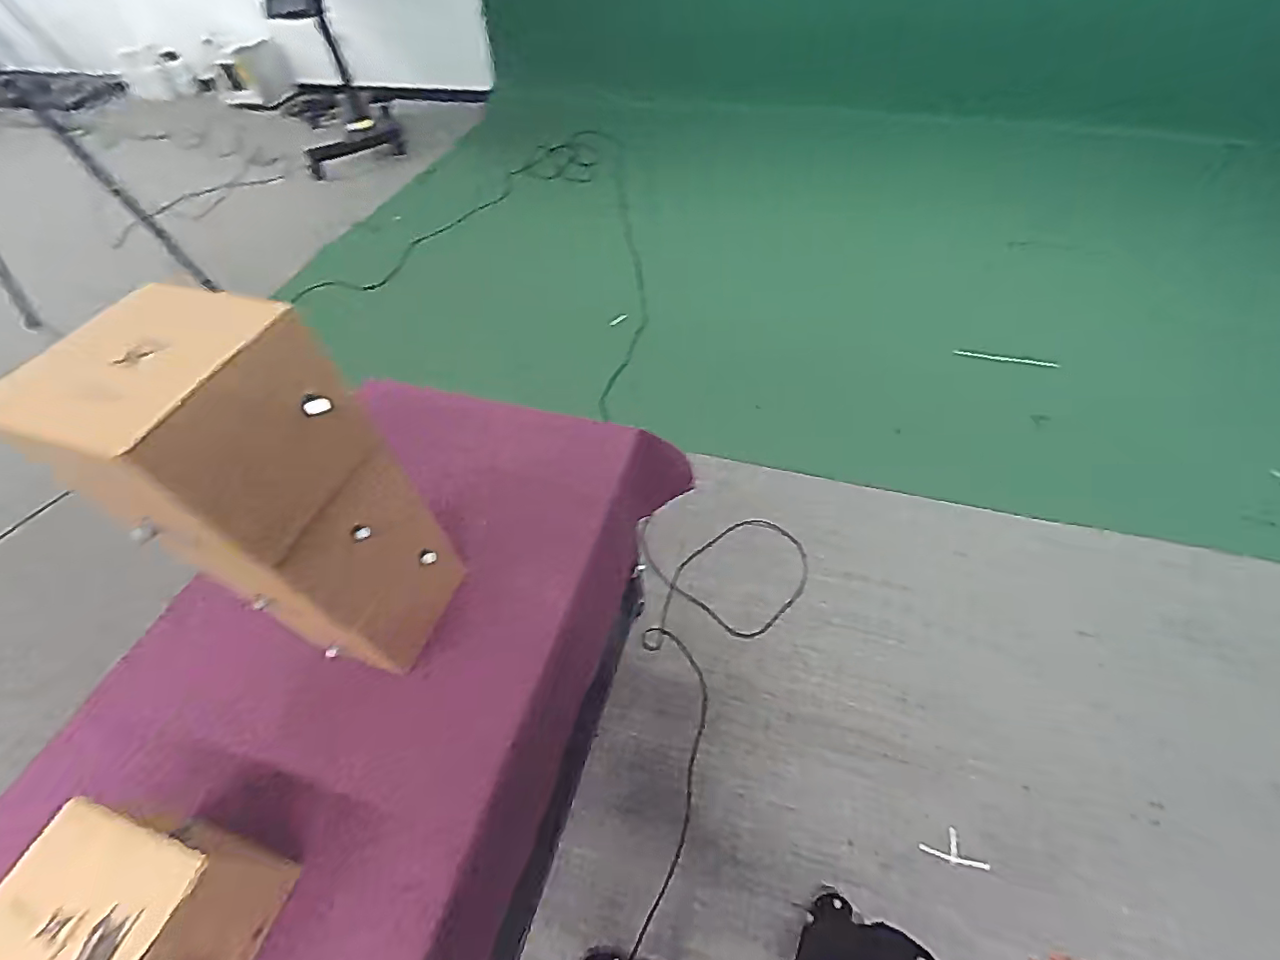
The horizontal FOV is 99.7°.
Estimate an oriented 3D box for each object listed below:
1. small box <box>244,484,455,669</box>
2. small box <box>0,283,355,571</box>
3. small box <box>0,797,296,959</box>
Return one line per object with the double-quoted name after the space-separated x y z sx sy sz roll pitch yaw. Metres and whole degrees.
-0.385 0.137 0.760 0.168 0.176 0.179 12 55 13 "small box"
-0.395 -0.047 0.488 0.168 0.176 0.179 12 55 14 "small box"
-0.499 0.442 0.540 0.179 0.176 0.168 11 54 13 "small box"
